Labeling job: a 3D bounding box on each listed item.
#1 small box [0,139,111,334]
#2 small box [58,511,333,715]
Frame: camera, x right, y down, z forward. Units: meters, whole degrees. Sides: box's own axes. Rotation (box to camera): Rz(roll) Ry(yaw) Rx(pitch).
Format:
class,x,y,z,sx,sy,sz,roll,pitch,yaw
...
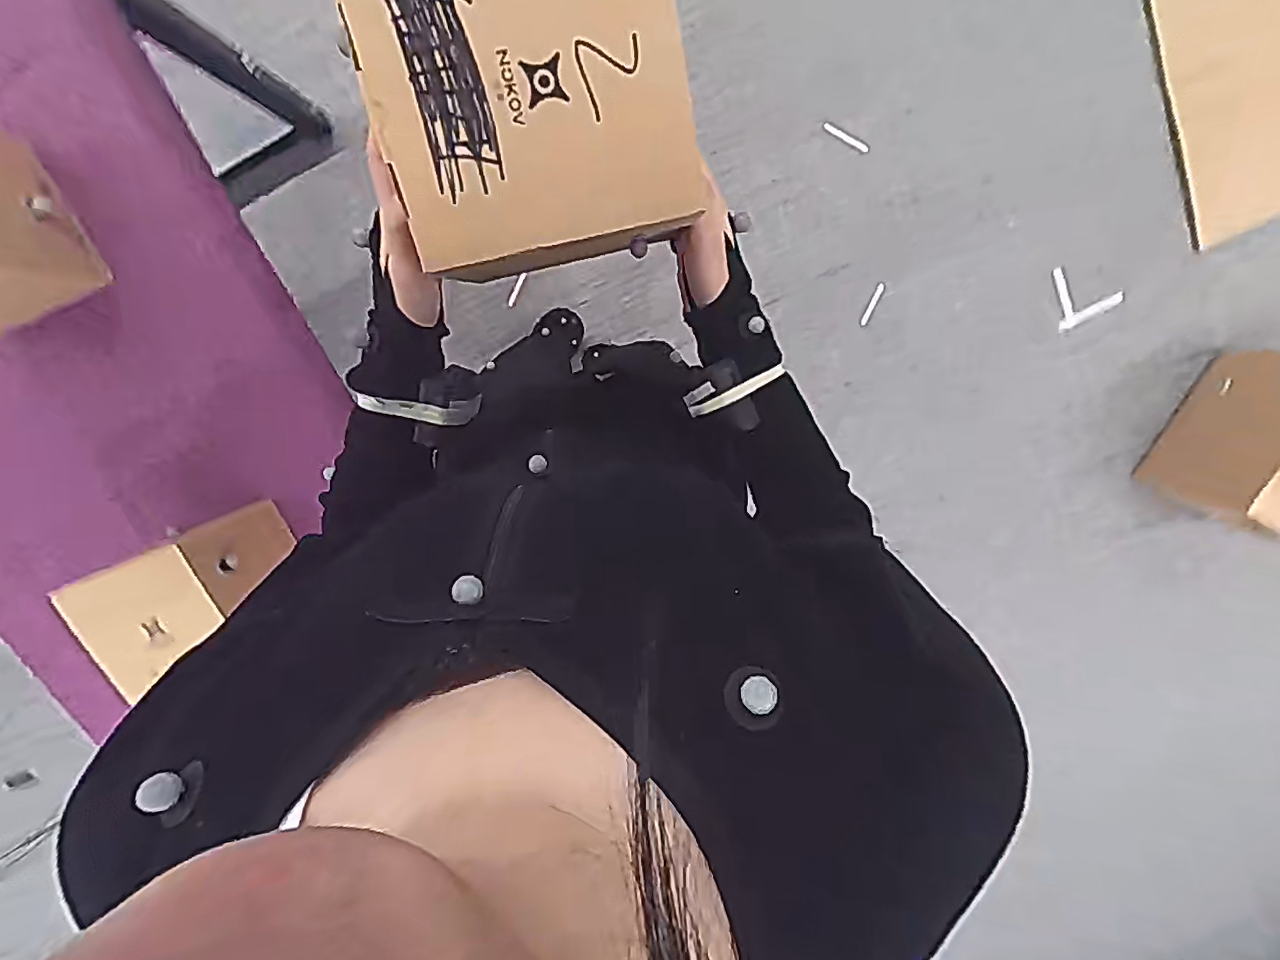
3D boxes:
class,x,y,z,sx,sy,sz,roll,pitch,yaw
small box,-0.747,-0.261,0.573,0.179,0.176,0.168,-22,105,4
small box,-0.544,0.154,0.692,0.168,0.176,0.179,-21,105,5
